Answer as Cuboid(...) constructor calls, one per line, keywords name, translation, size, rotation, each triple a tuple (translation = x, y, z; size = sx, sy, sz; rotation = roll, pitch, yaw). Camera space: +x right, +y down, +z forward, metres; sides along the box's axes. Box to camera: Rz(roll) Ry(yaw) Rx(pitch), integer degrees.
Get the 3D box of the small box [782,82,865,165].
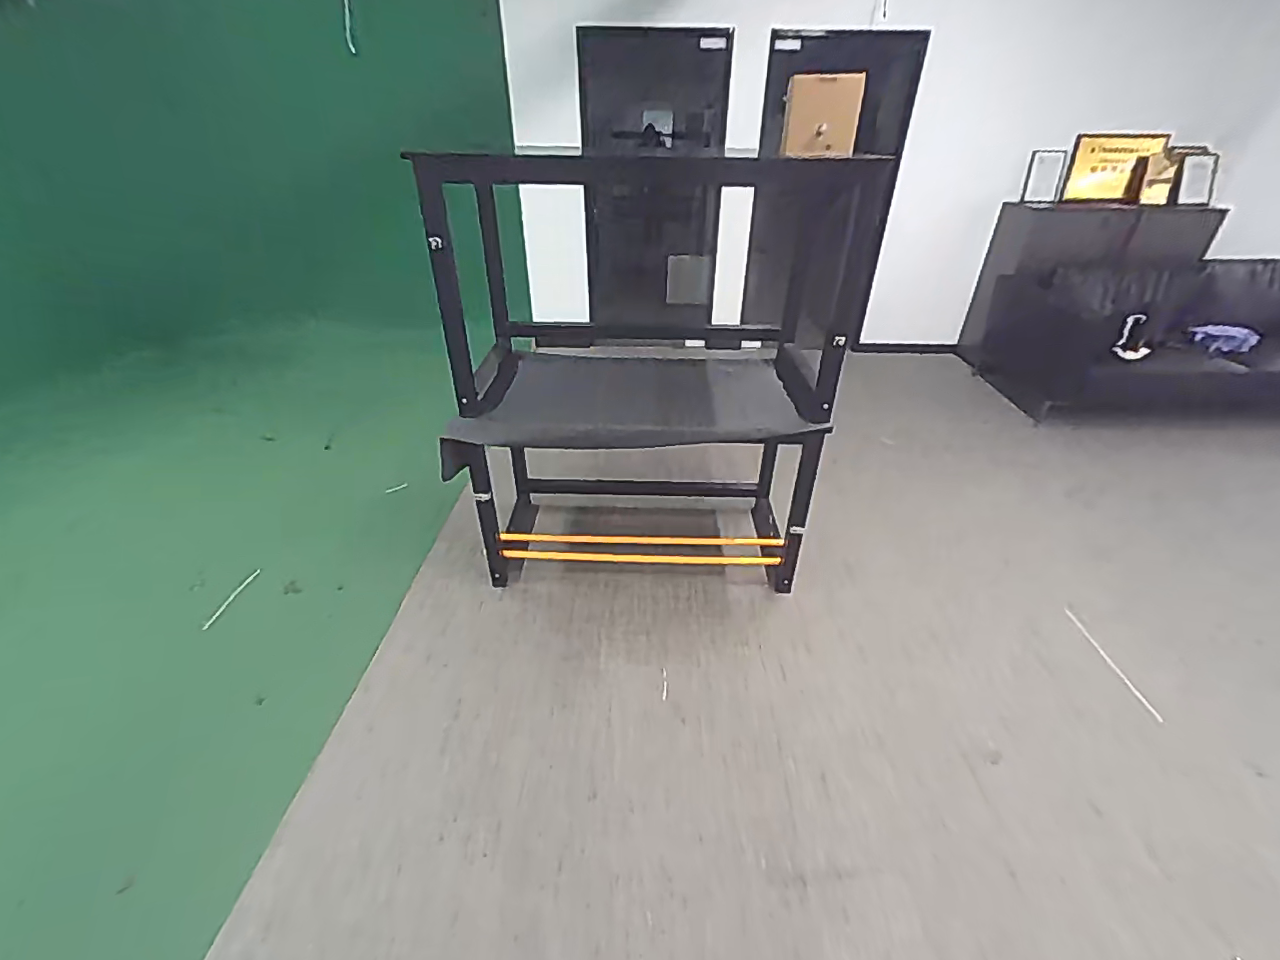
Cuboid(name="small box", translation=(0.465, -0.922, 1.403), size=(0.168, 0.176, 0.179), rotation=(4, 33, 7))
